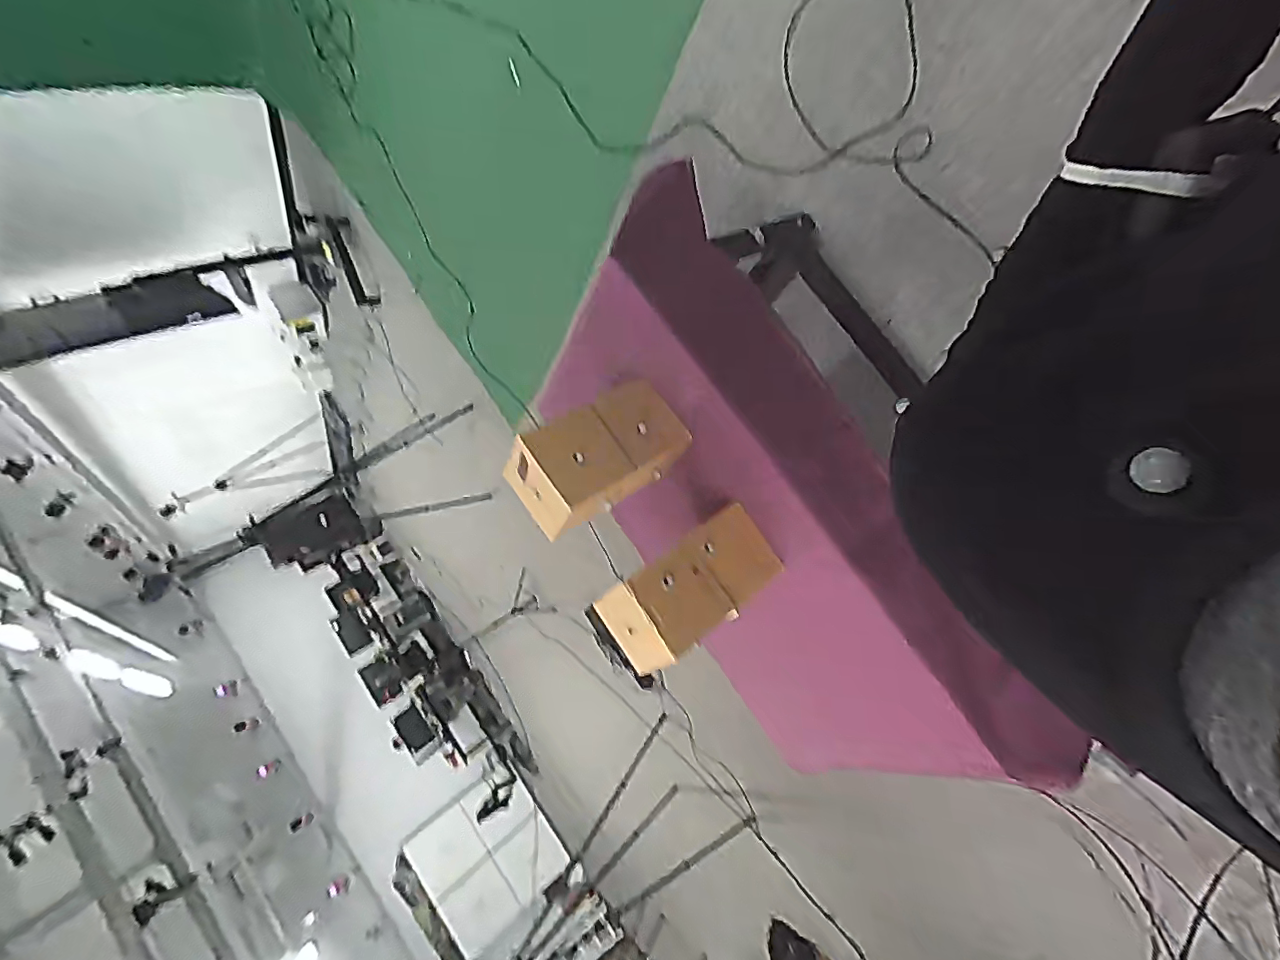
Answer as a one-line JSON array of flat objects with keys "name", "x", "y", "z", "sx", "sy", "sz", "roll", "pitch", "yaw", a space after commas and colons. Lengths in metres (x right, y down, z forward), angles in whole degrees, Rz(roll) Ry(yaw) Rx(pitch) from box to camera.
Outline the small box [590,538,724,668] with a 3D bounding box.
[{"name": "small box", "x": 0.037, "y": 0.237, "z": 1.049, "sx": 0.168, "sy": 0.176, "sz": 0.179, "roll": 56, "pitch": 147, "yaw": 9}]

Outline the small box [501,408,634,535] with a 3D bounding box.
[{"name": "small box", "x": -0.146, "y": -0.024, "z": 1.077, "sx": 0.179, "sy": 0.176, "sz": 0.168, "roll": 53, "pitch": 146, "yaw": 8}]

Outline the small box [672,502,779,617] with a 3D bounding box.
[{"name": "small box", "x": 0.157, "y": 0.175, "z": 1.139, "sx": 0.179, "sy": 0.176, "sz": 0.168, "roll": 56, "pitch": 146, "yaw": 7}]

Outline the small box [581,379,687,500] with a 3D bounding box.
[{"name": "small box", "x": -0.030, "y": -0.092, "z": 1.173, "sx": 0.179, "sy": 0.176, "sz": 0.168, "roll": 53, "pitch": 145, "yaw": 9}]
